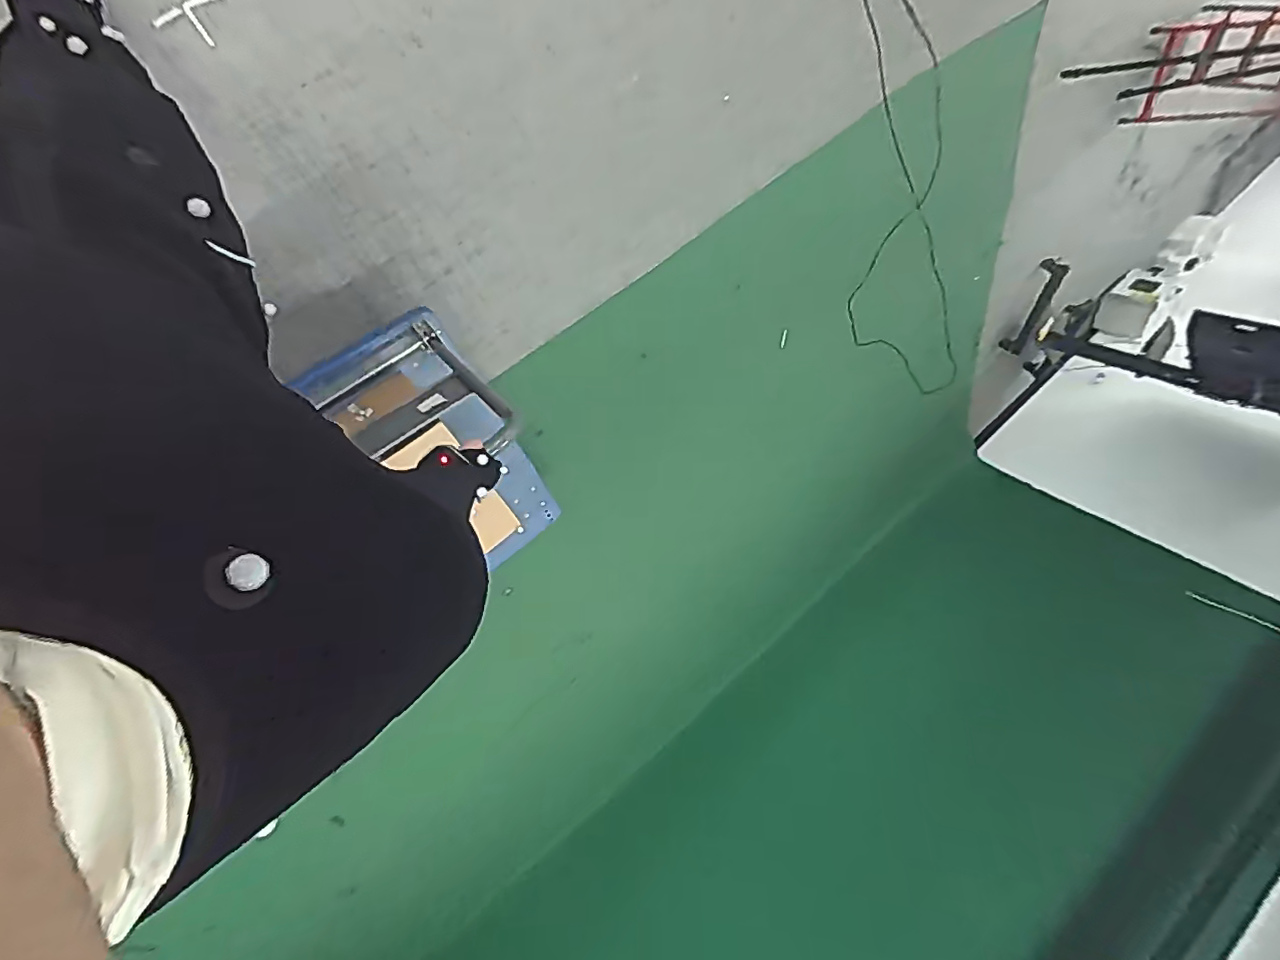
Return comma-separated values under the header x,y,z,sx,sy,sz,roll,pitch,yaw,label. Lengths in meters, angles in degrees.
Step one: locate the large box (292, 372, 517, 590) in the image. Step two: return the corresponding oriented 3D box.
x,y,z,sx,sy,sz,roll,pitch,yaw,label
-0.597,0.001,1.399,0.320,0.320,0.408,-38,138,-12,large box
